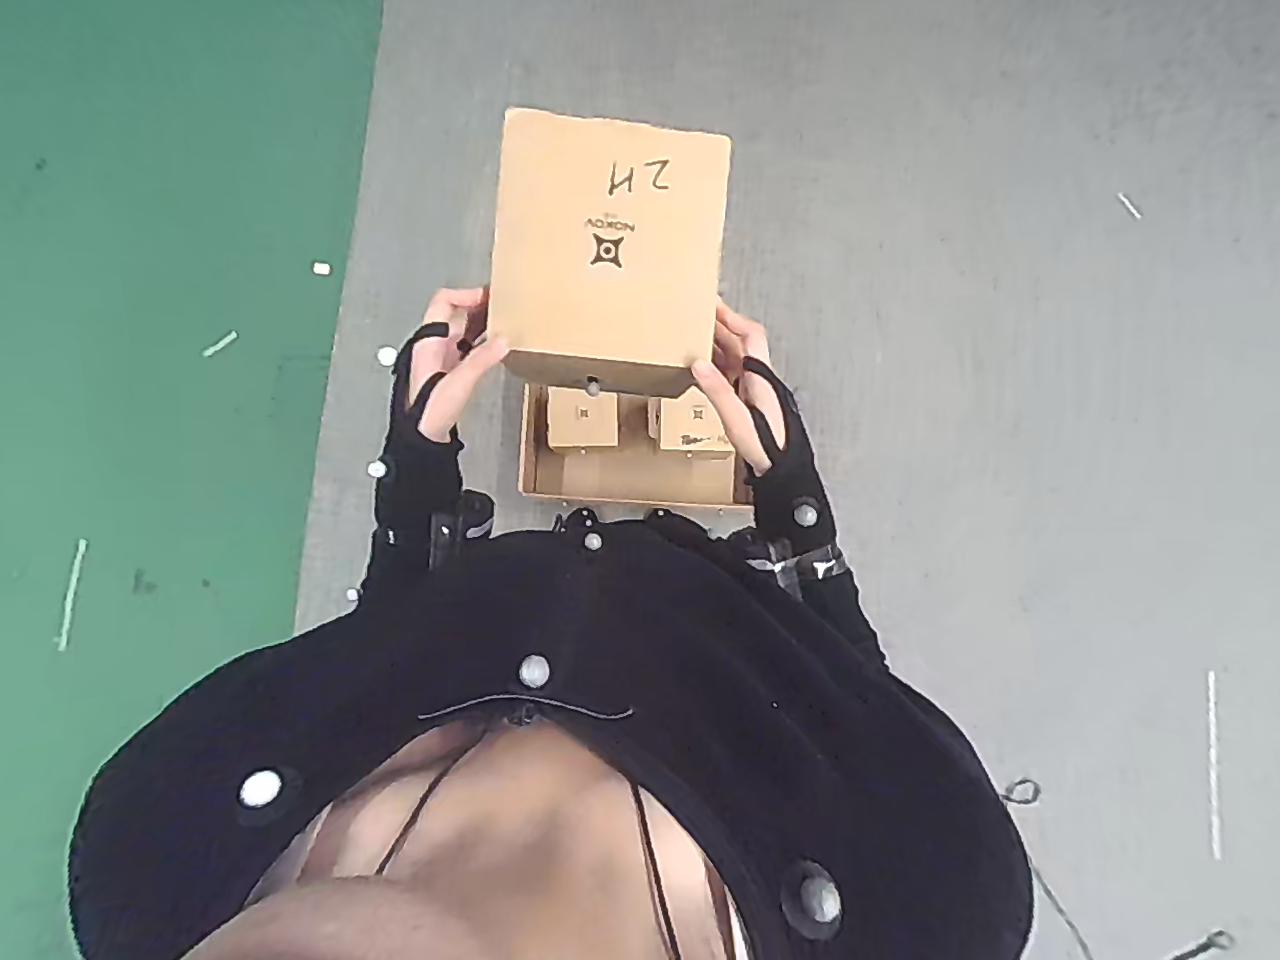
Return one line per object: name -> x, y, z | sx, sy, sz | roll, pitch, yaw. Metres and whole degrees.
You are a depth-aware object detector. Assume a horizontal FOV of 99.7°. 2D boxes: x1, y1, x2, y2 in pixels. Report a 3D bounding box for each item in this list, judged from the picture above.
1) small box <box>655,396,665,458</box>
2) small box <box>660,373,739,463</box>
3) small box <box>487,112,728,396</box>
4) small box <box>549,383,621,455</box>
small box -> 0.131, -0.150, 1.419 | 0.179, 0.176, 0.168 | -2, 86, 1
small box -> 0.132, -0.141, 1.254 | 0.168, 0.176, 0.179 | 2, 85, 2
small box -> -0.028, -0.175, 0.477 | 0.168, 0.176, 0.179 | 5, 90, -5
small box -> -0.140, -0.157, 1.426 | 0.179, 0.176, 0.168 | 0, 86, -1
